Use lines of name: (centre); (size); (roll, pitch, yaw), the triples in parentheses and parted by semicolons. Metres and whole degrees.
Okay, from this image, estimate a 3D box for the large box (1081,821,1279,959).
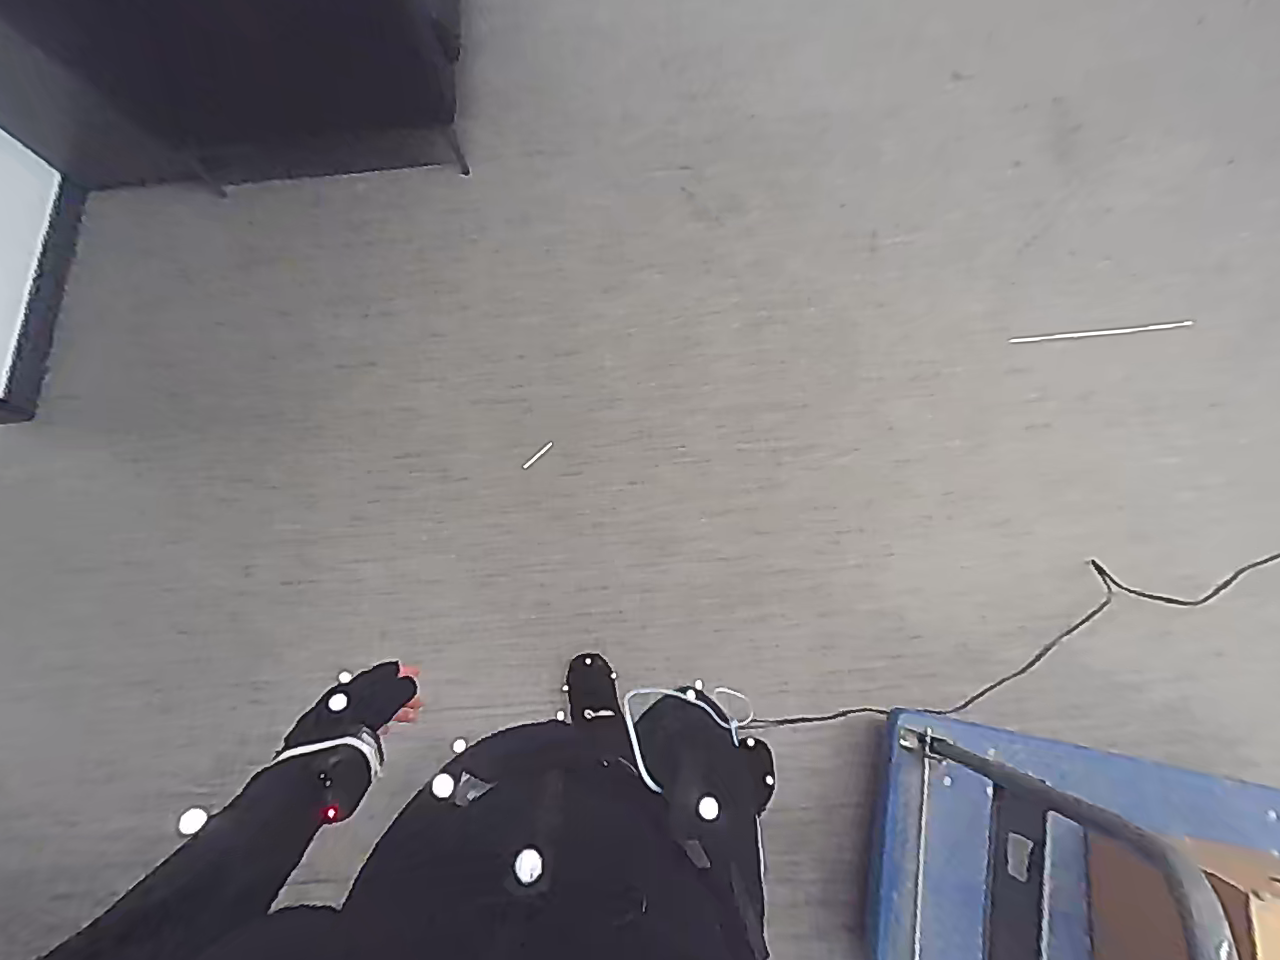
large box: (0.943, 0.802, 0.808); (0.320, 0.320, 0.408); (7, 74, 5)
